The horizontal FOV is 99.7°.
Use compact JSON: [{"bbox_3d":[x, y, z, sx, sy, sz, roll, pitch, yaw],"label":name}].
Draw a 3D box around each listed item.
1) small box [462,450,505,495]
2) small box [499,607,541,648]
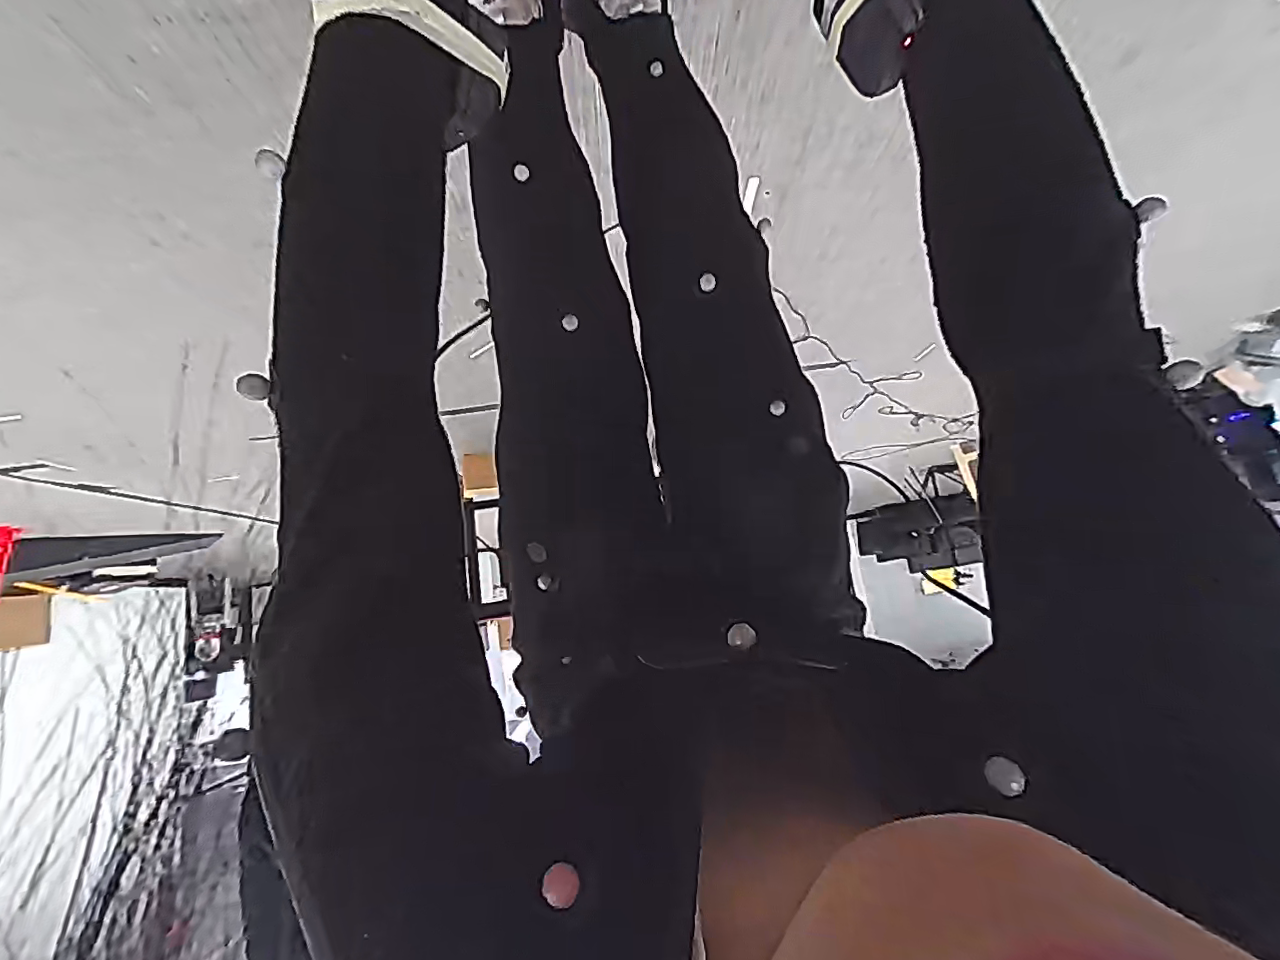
[{"bbox_3d":[-0.739,-0.035,2.534,0.179,0.176,0.168,-6,168,-20],"label":"small box"},{"bbox_3d":[-0.587,0.717,2.644,0.179,0.176,0.168,-8,170,-5],"label":"small box"}]
